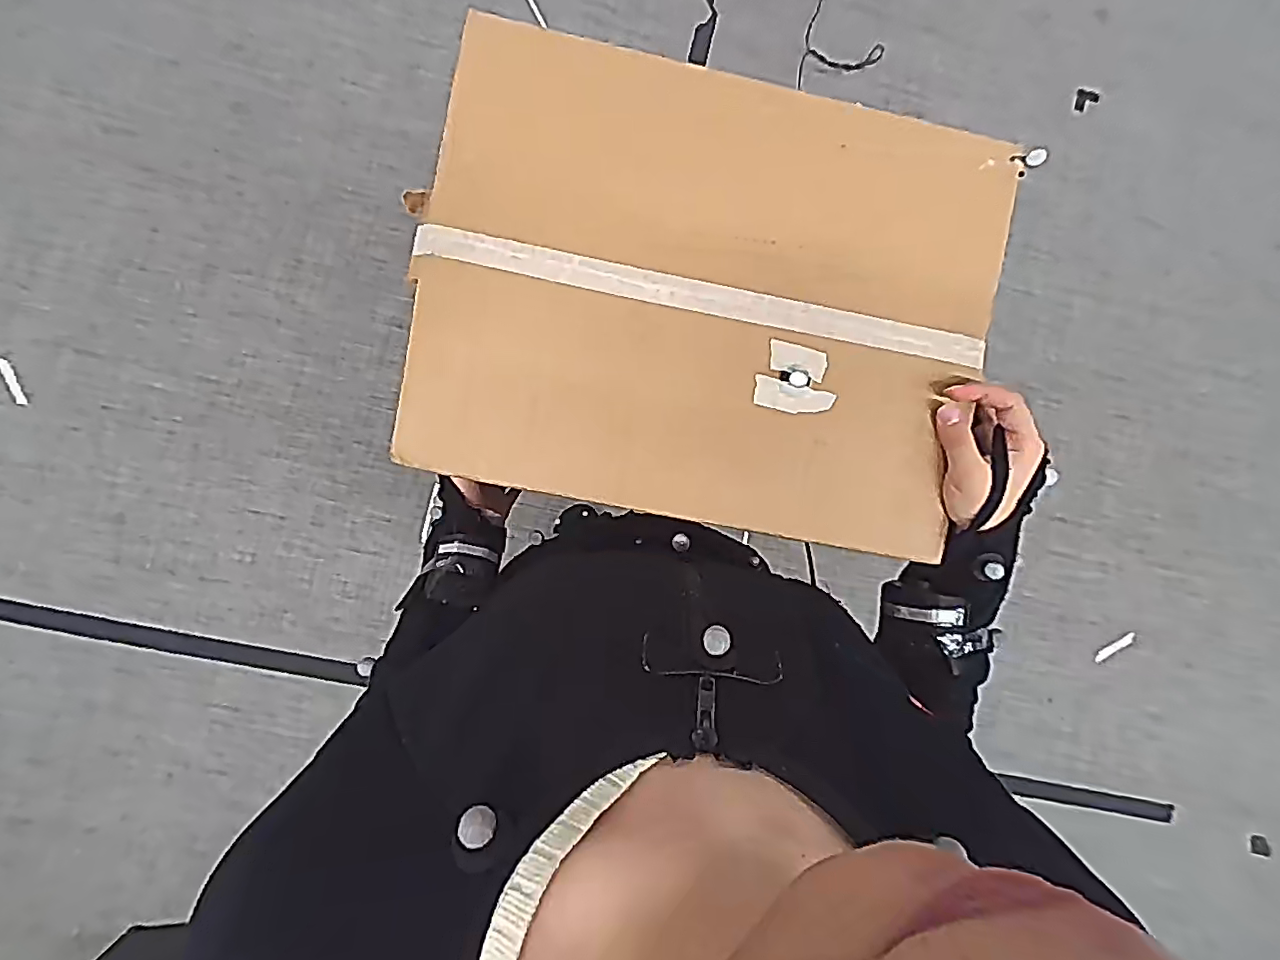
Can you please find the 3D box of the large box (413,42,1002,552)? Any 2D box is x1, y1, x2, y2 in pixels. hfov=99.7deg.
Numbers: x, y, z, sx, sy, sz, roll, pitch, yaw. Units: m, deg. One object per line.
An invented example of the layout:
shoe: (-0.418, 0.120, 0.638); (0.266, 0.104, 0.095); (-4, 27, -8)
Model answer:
large box: (0.042, -0.130, 0.542); (0.408, 0.320, 0.320); (10, 92, -5)
